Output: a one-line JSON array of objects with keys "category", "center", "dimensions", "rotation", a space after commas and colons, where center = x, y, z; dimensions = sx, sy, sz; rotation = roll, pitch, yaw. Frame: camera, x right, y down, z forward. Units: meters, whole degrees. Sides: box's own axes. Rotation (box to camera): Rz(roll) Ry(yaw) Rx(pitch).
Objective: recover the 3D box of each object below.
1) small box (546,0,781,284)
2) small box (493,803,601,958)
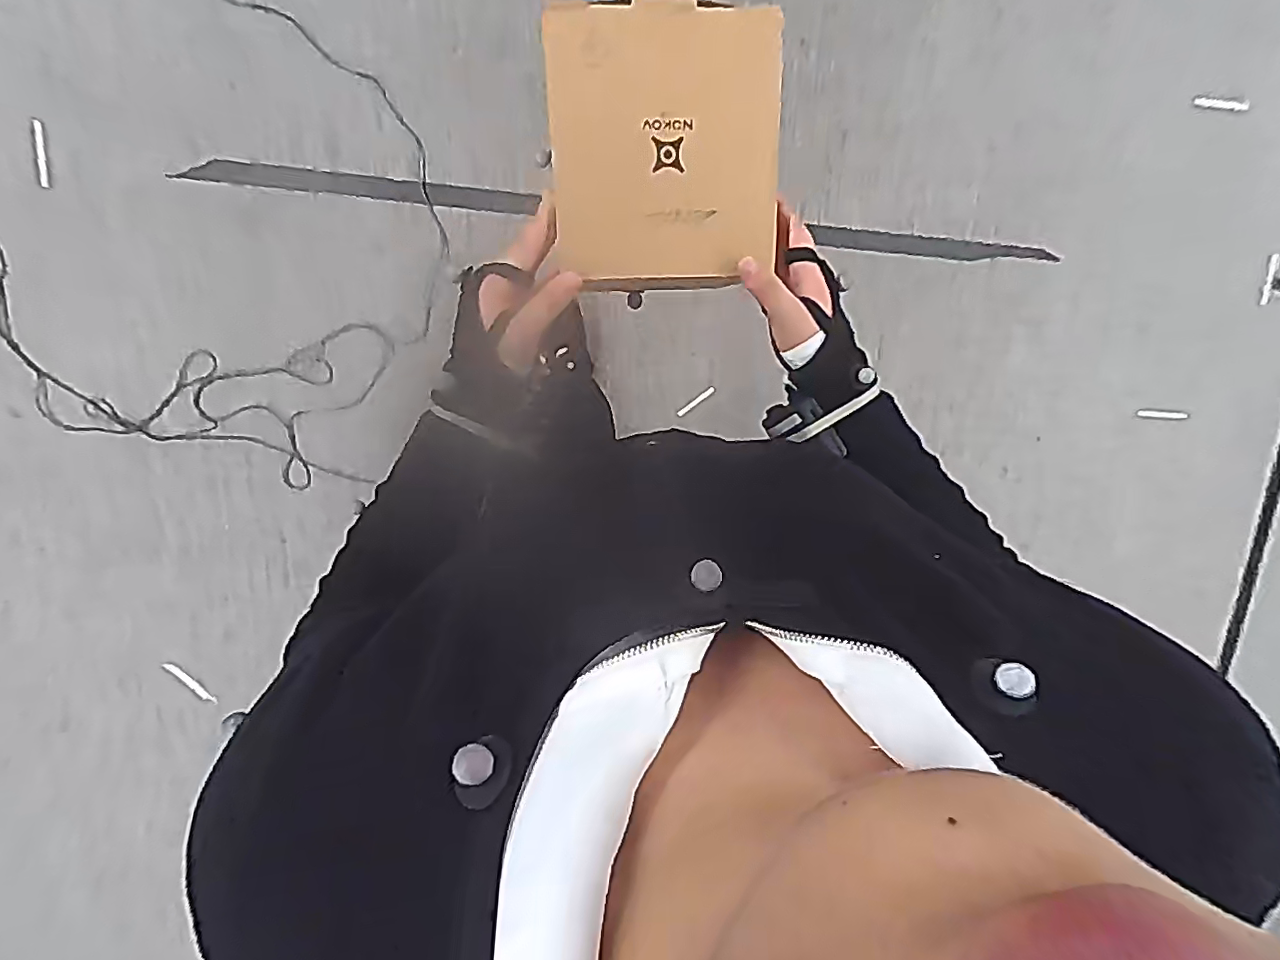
[{"category": "small box", "center": [0.009, -0.267, 0.460], "dimensions": [0.168, 0.176, 0.179], "rotation": [-4, 107, -6]}, {"category": "small box", "center": [-0.168, 0.751, 1.030], "dimensions": [0.179, 0.176, 0.168], "rotation": [-4, 98, -3]}]
